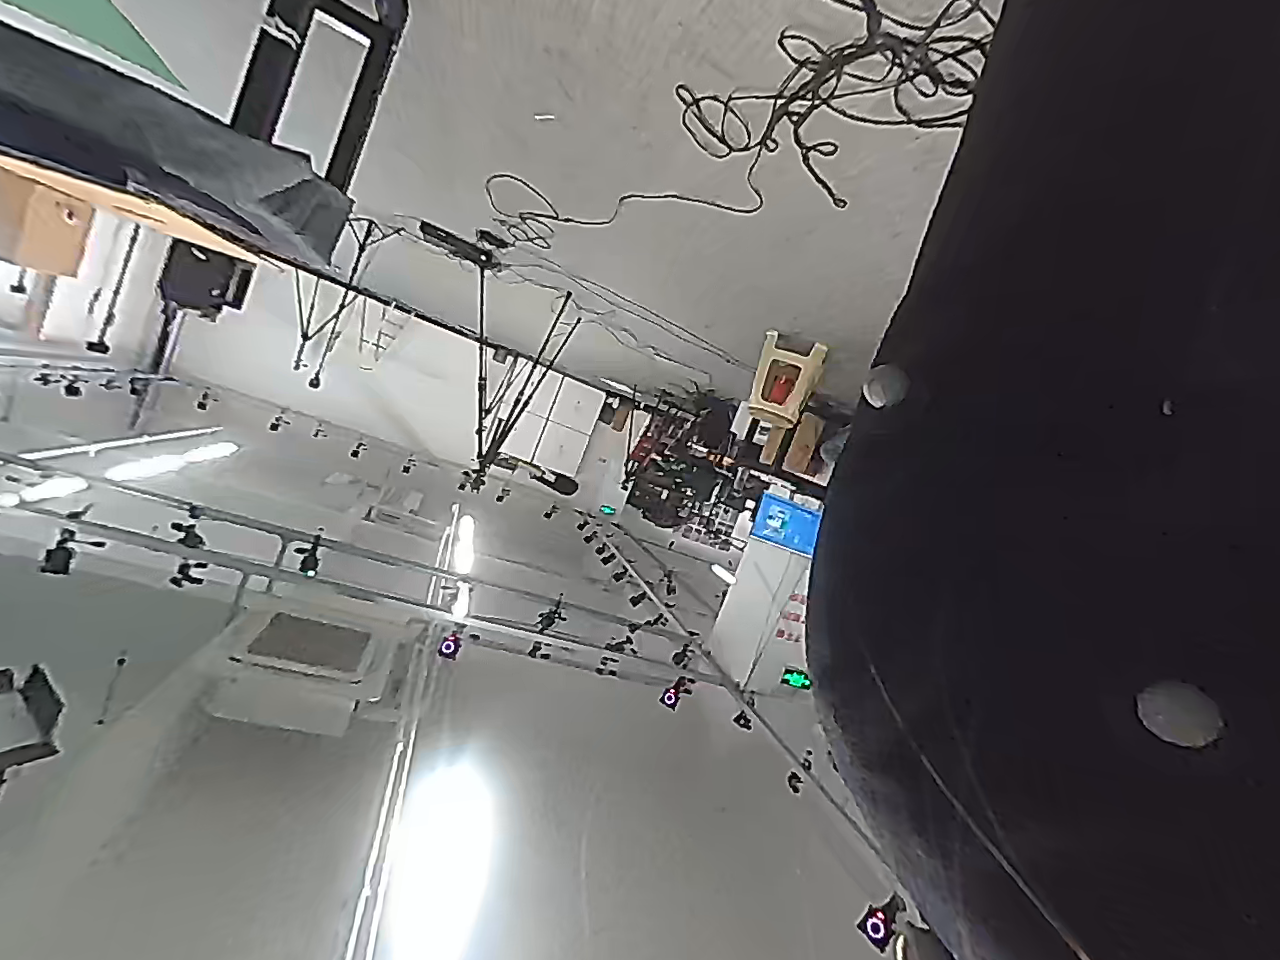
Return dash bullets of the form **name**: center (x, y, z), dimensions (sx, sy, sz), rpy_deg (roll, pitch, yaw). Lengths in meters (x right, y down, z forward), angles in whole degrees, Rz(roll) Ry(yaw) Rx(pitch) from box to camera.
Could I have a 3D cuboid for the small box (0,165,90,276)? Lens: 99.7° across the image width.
- **small box**: center (-1.268, -0.536, 1.076), dimensions (0.179, 0.176, 0.168), rpy_deg (20, -174, -16)
